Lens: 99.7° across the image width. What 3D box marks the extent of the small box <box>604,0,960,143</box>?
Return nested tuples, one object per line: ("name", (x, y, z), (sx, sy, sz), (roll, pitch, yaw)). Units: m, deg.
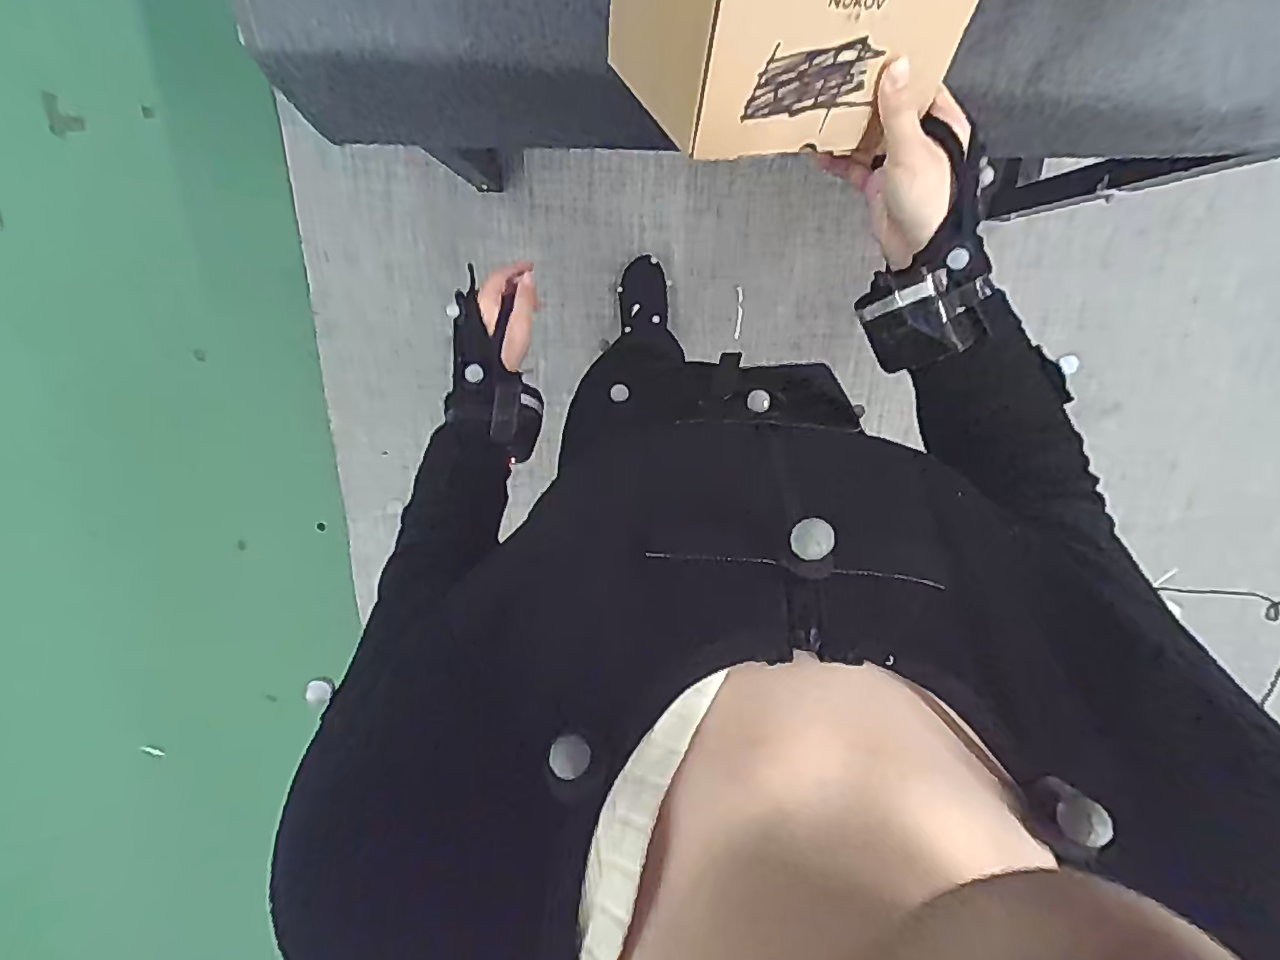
("small box", (0.082, -0.331, 0.322), (0.168, 0.176, 0.179), (-12, 144, -18))
